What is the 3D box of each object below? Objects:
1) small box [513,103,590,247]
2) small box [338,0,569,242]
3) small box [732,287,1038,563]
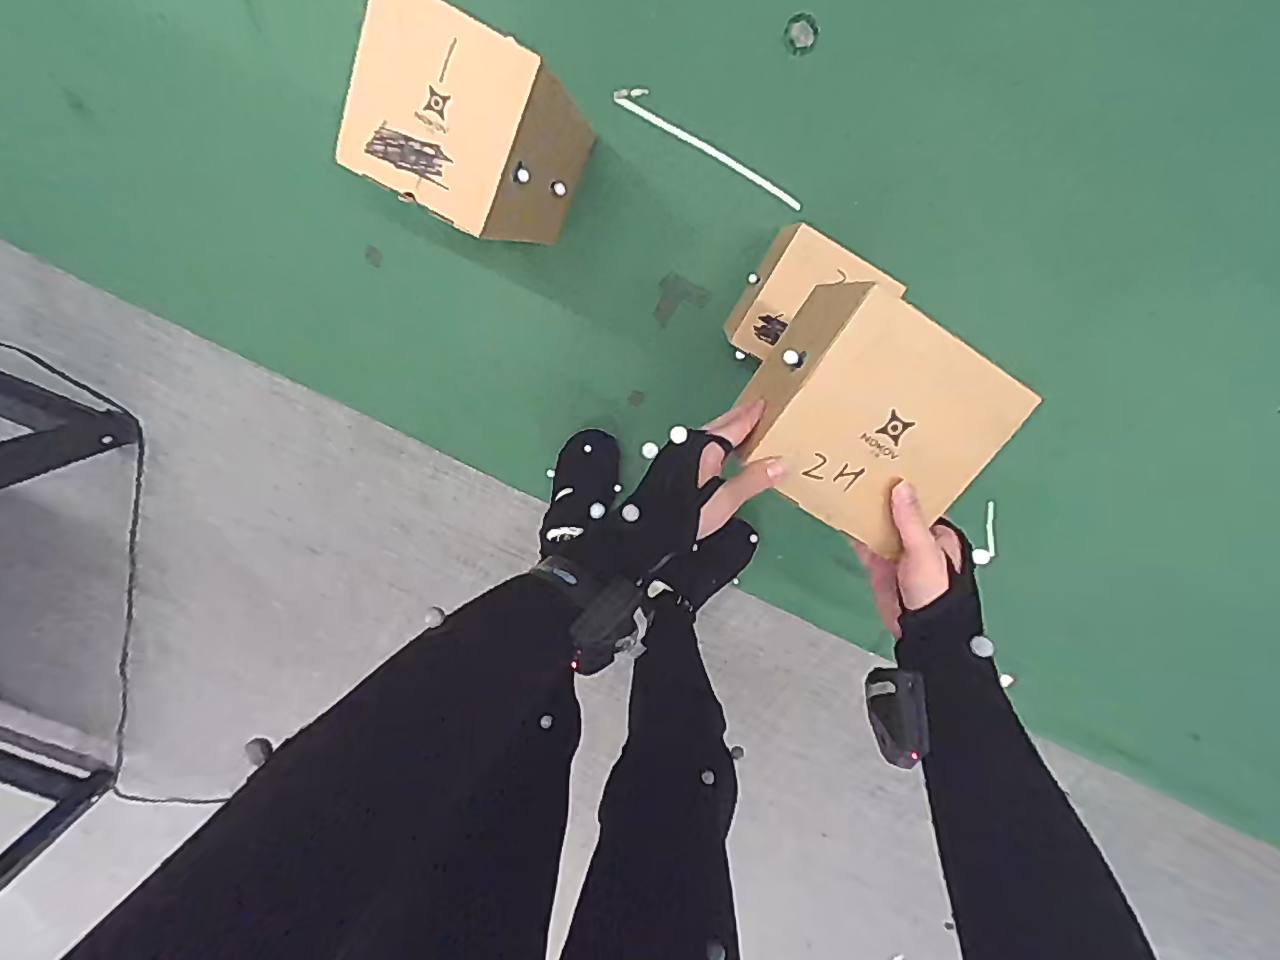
[{"bbox_3d":[-0.181,-0.448,0.755,0.168,0.176,0.179,27,112,-6],"label":"small box"},{"bbox_3d":[-0.193,-0.385,0.604,0.168,0.176,0.179,27,112,-6],"label":"small box"},{"bbox_3d":[0.203,-0.062,0.512,0.168,0.176,0.179,31,108,-8],"label":"small box"}]
